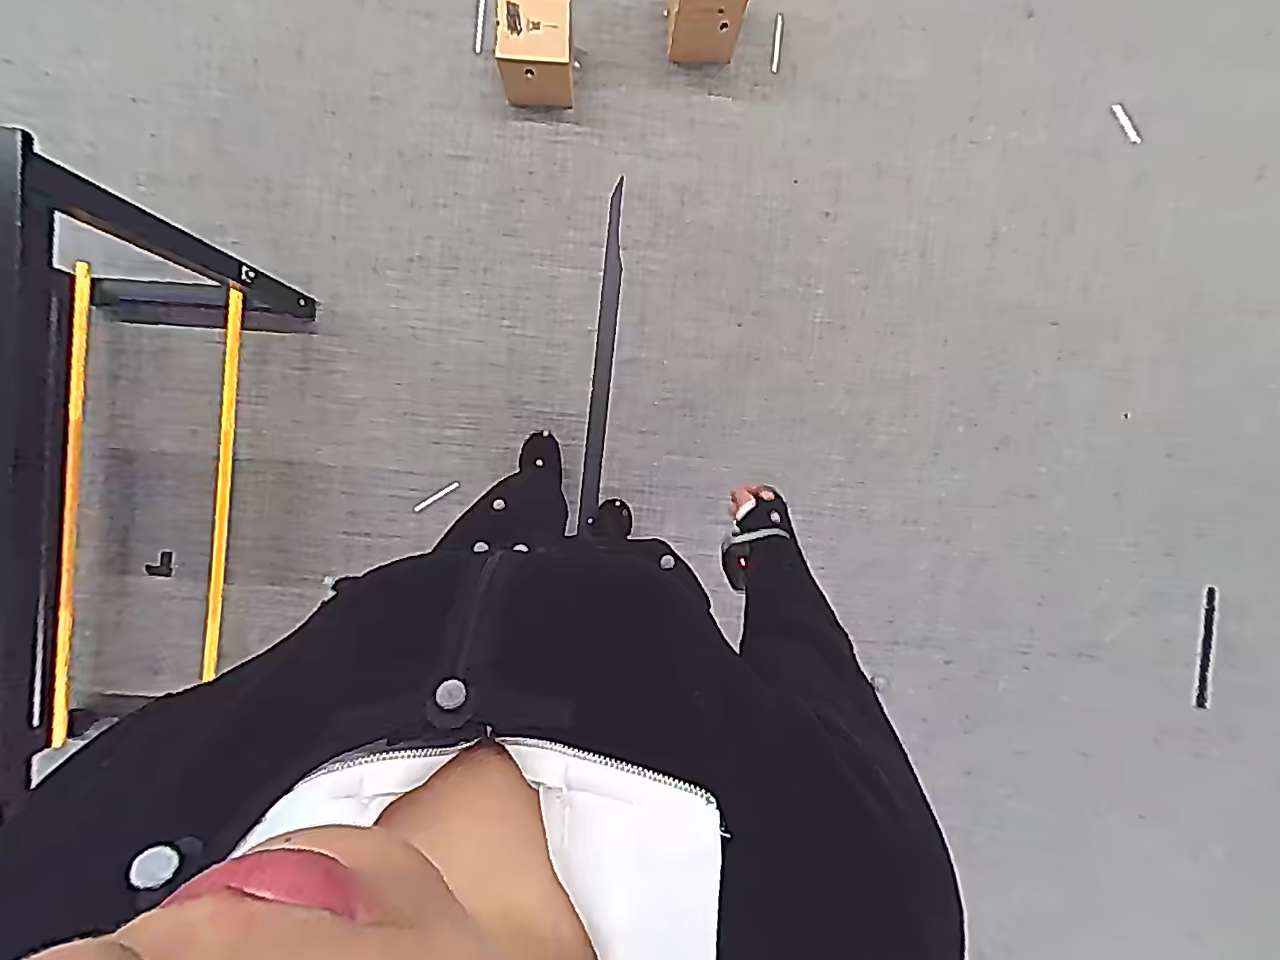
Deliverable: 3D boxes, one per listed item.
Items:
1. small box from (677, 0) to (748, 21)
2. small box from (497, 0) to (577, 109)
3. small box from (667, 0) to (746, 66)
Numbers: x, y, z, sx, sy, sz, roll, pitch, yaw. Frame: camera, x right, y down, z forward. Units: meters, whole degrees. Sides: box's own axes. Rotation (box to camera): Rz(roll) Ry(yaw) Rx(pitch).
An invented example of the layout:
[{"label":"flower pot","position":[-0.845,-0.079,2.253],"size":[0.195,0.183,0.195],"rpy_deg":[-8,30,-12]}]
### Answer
[{"label":"small box","position":[0.172,-1.192,1.226],"size":[0.168,0.176,0.179],"rpy_deg":[-2,93,-3]},{"label":"small box","position":[-0.256,-1.078,1.371],"size":[0.179,0.176,0.168],"rpy_deg":[2,92,-3]},{"label":"small box","position":[0.167,-1.205,1.389],"size":[0.179,0.176,0.168],"rpy_deg":[-1,92,-3]}]
